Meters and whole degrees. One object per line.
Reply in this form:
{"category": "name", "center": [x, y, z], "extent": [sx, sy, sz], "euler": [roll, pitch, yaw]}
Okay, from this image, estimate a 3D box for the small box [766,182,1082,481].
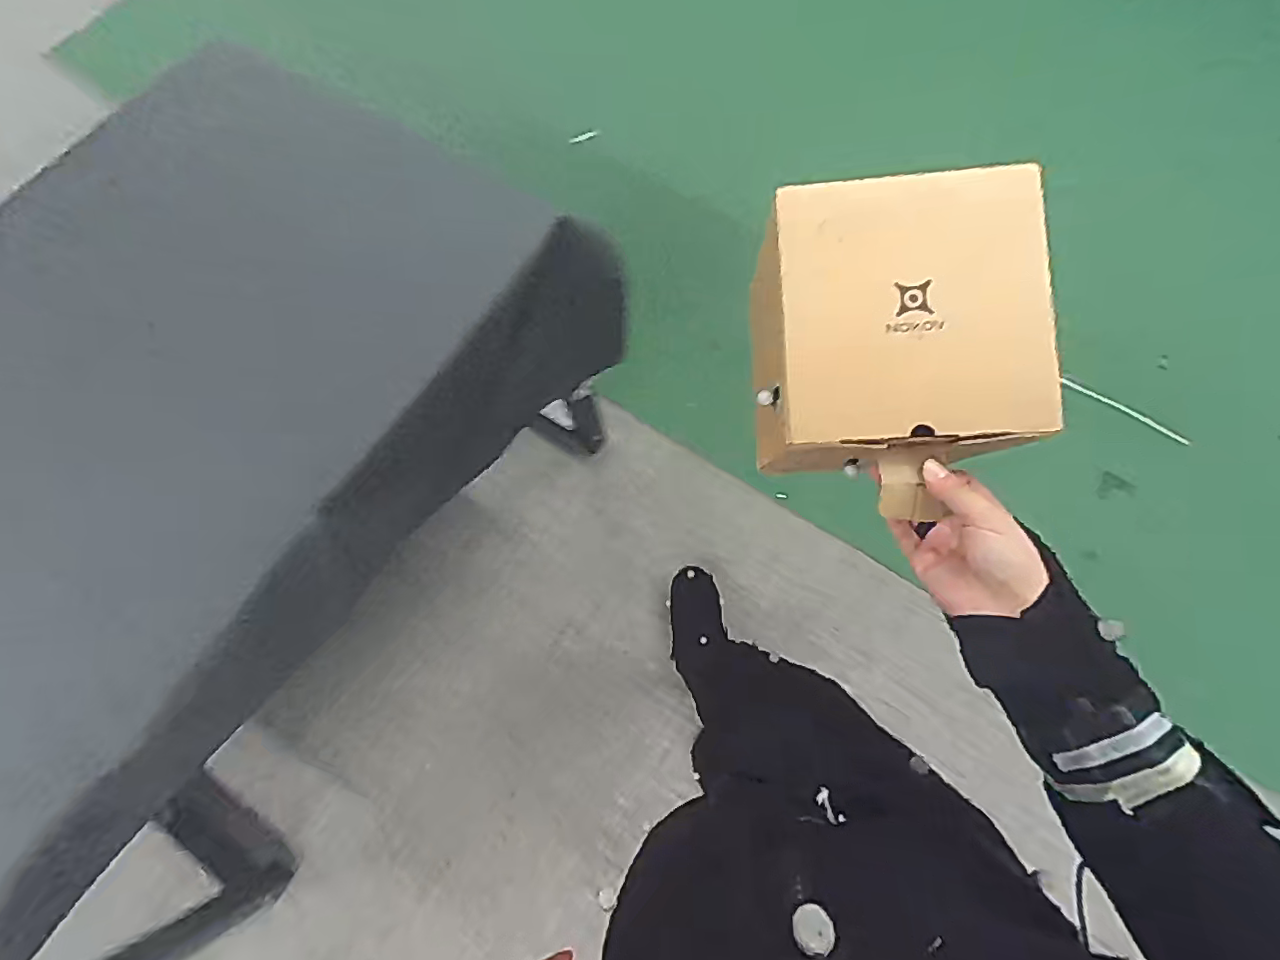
{"category": "small box", "center": [0.193, -0.096, 0.422], "extent": [0.168, 0.176, 0.179], "euler": [-1, 84, 6]}
